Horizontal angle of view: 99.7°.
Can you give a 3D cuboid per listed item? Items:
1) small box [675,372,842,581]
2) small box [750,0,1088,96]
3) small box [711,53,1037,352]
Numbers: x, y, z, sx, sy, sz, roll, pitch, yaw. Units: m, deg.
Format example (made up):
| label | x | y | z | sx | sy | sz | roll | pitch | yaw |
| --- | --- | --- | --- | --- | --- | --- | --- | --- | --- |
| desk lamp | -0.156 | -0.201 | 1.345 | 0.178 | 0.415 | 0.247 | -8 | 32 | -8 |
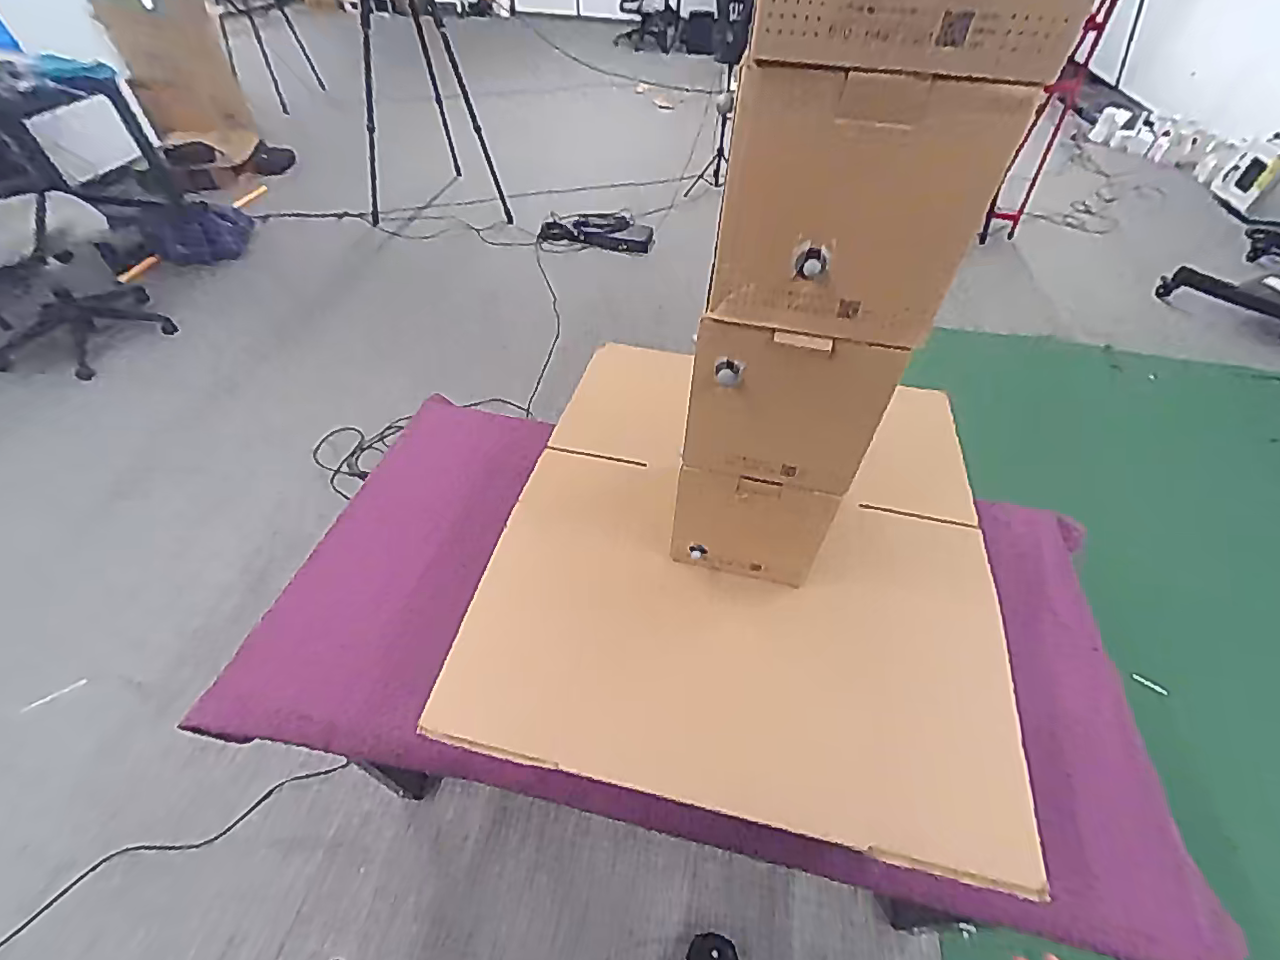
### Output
| label | x | y | z | sx | sy | sz | roll | pitch | yaw |
| --- | --- | --- | --- | --- | --- | --- | --- | --- | --- |
| small box | 0.139 | -0.002 | 0.658 | 0.168 | 0.176 | 0.179 | 11 | 47 | 8 |
| small box | 0.159 | -0.337 | 0.298 | 0.168 | 0.176 | 0.179 | 9 | 47 | 6 |
| small box | 0.153 | -0.226 | 0.420 | 0.168 | 0.176 | 0.179 | 10 | 48 | 7 |
